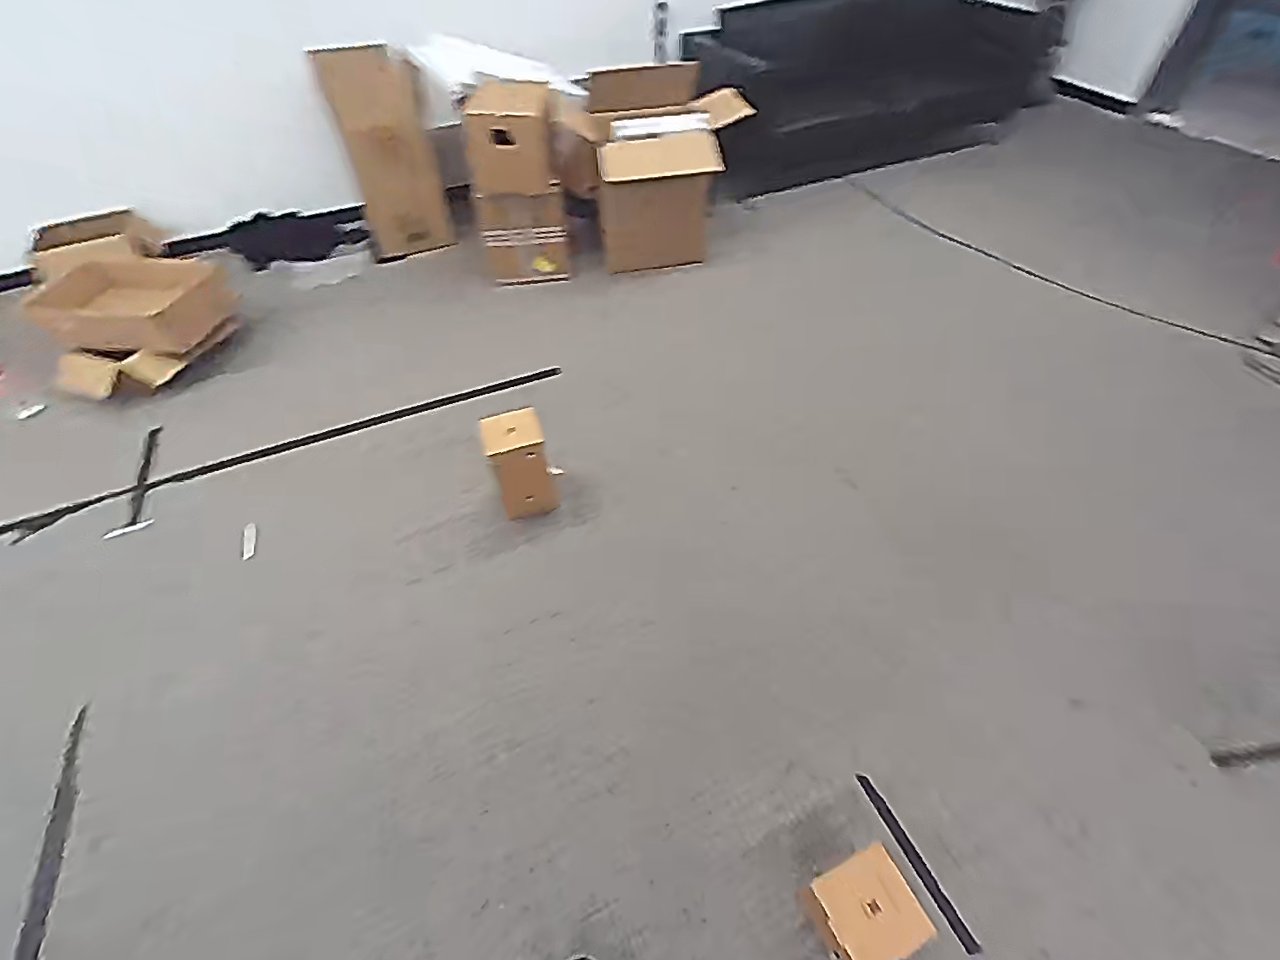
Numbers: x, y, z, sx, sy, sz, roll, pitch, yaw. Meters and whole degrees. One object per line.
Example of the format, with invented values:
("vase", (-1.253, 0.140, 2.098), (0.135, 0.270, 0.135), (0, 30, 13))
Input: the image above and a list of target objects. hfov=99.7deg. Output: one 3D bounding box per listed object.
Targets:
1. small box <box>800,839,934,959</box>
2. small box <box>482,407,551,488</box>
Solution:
("small box", (0.447, 0.874, 1.104), (0.179, 0.176, 0.168), (-20, 53, -16))
("small box", (-0.387, -0.101, 1.723), (0.179, 0.176, 0.168), (-16, 51, -10))
